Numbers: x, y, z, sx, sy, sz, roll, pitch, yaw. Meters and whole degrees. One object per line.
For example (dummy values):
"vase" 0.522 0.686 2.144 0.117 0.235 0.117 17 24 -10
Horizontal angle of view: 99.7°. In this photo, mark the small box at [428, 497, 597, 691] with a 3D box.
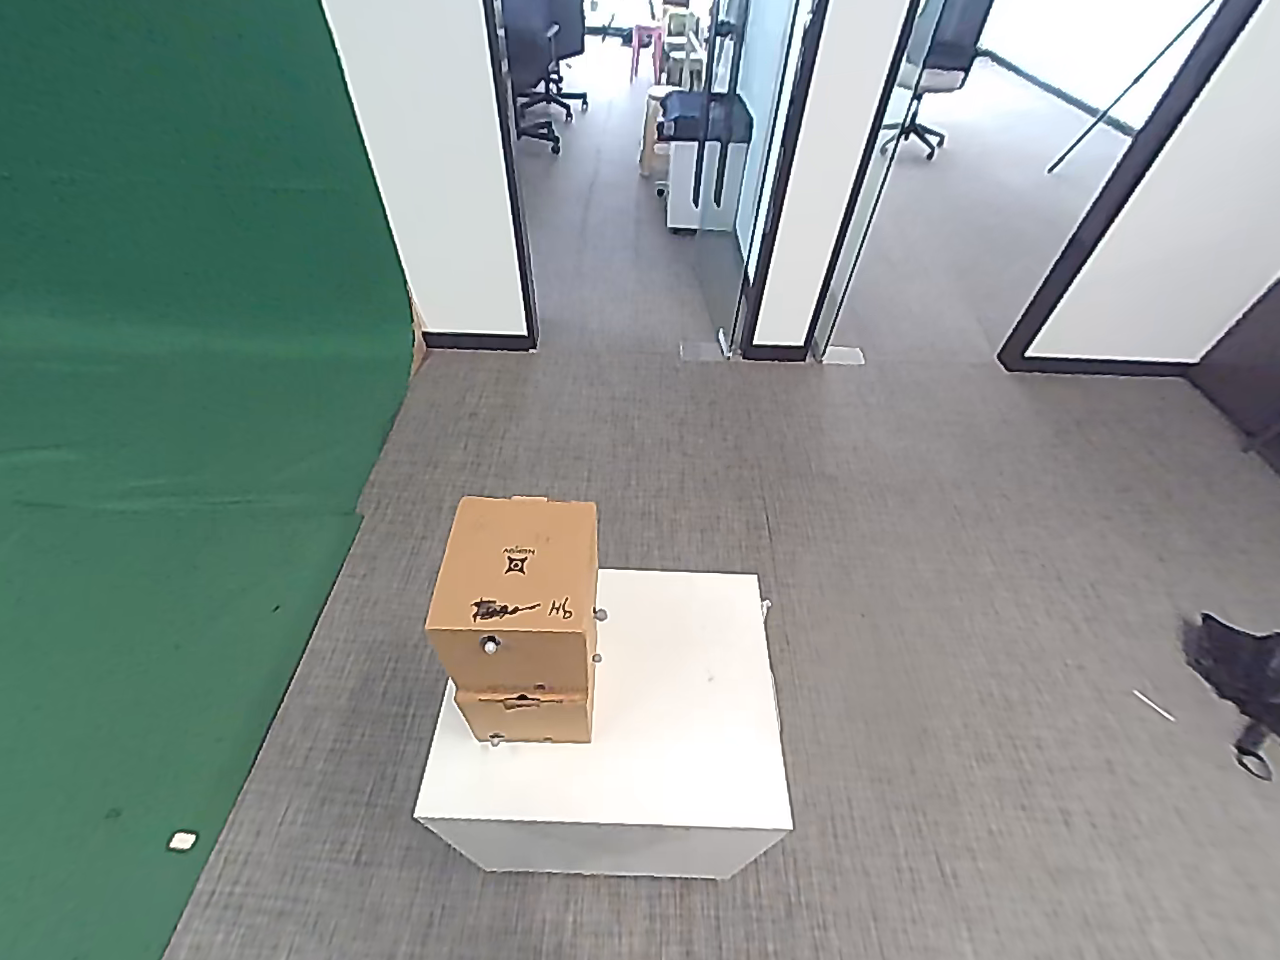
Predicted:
"small box" -0.141 0.142 0.672 0.168 0.176 0.179 1 47 -1

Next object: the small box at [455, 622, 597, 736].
"small box" -0.151 0.258 0.786 0.168 0.176 0.179 2 47 -2
